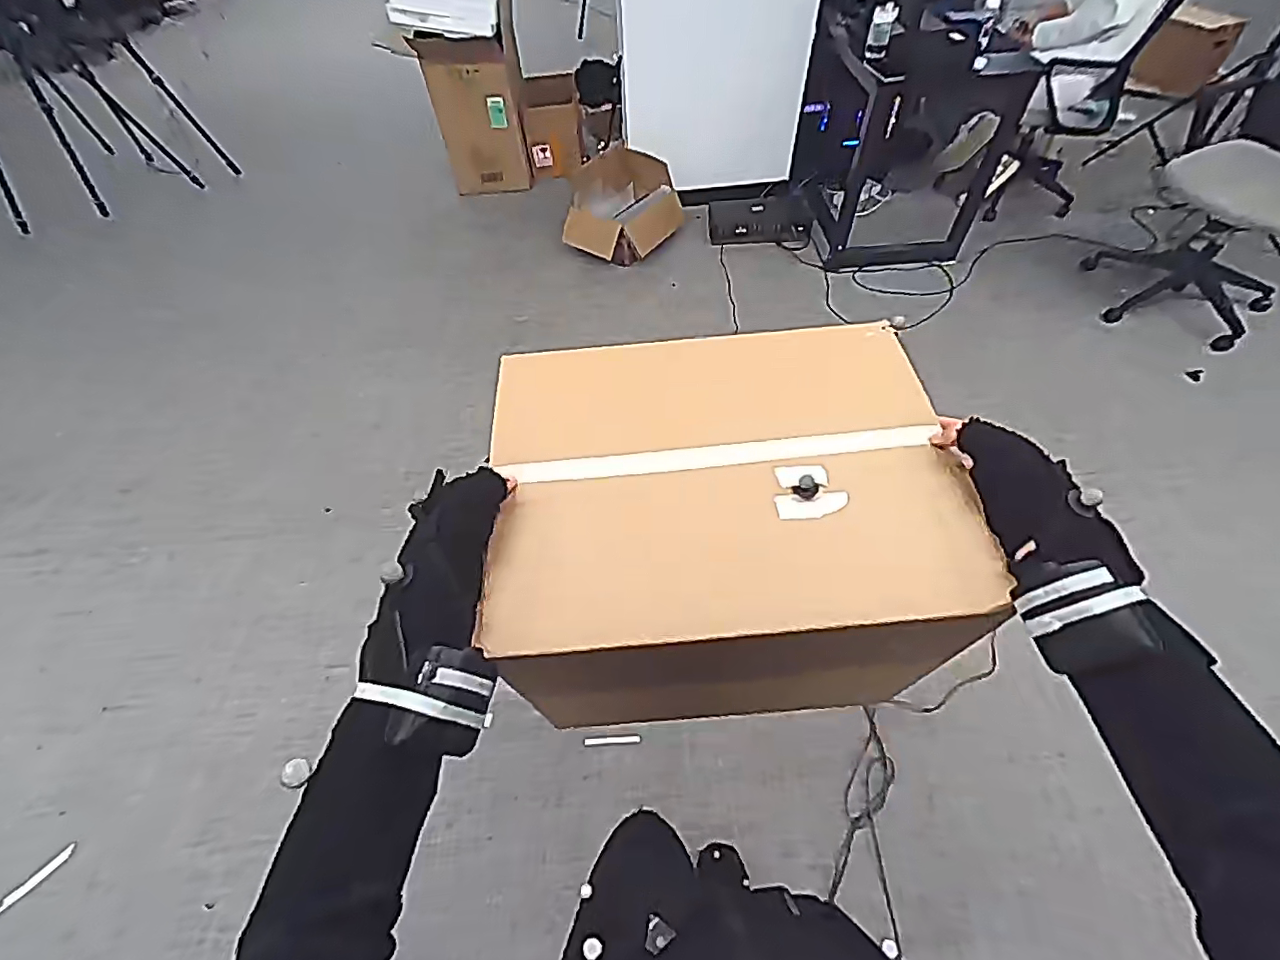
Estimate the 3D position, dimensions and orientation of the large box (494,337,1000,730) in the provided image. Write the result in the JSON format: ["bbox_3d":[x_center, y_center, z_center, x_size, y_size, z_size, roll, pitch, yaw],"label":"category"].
[{"bbox_3d":[0.077,0.074,0.620,0.408,0.320,0.320,-6,56,0],"label":"large box"}]
